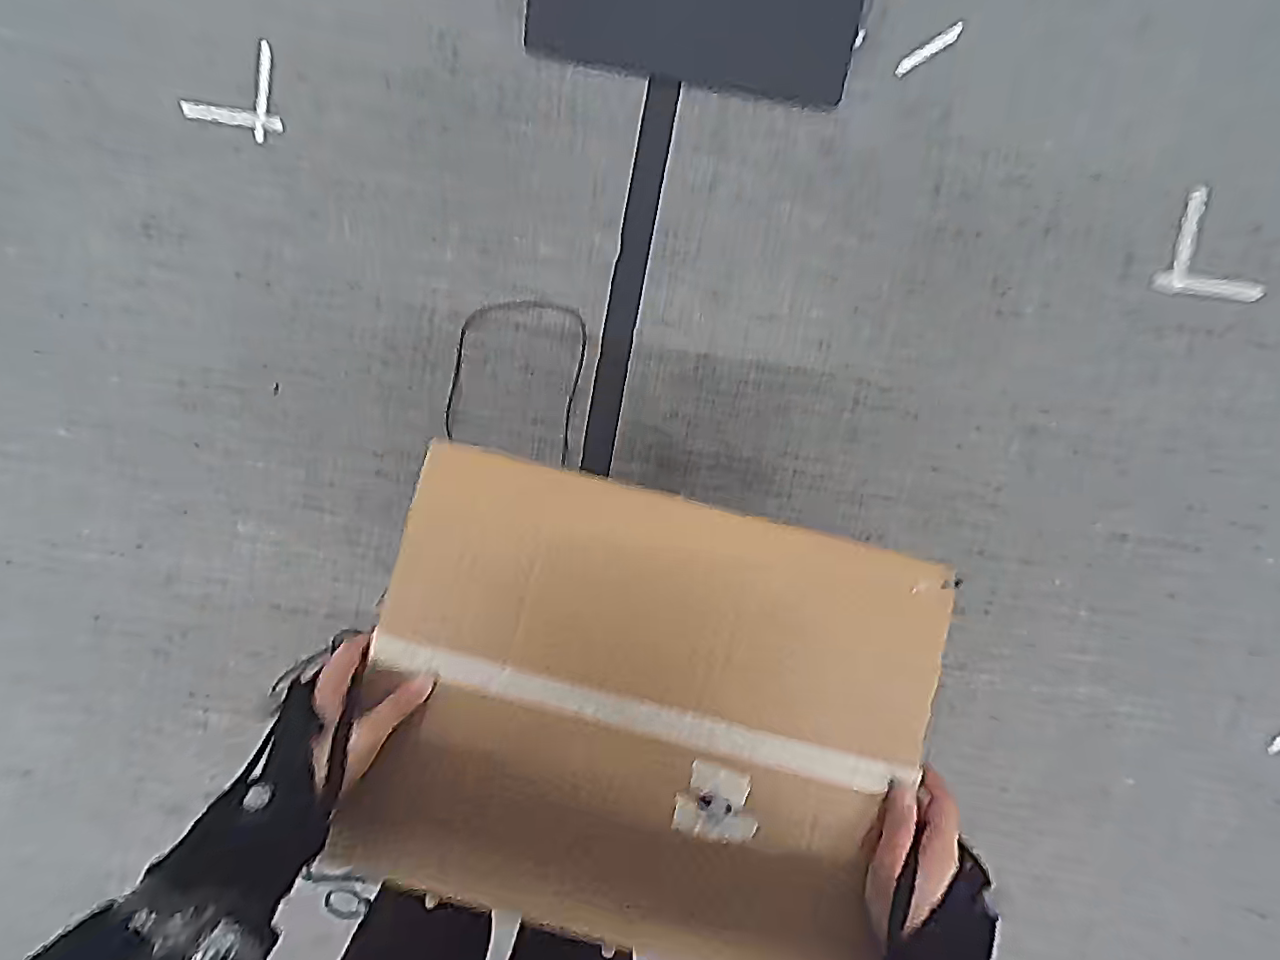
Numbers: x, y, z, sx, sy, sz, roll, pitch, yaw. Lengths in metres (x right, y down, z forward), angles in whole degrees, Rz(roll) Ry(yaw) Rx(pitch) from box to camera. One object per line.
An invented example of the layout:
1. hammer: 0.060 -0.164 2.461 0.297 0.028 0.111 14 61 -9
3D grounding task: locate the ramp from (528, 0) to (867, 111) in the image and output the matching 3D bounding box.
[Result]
1. ramp: 0.155 -1.074 0.683 0.509 0.206 0.991 8 97 -2

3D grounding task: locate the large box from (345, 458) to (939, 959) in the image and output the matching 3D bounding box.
1. large box: 0.005 0.186 0.557 0.408 0.320 0.320 14 86 1
